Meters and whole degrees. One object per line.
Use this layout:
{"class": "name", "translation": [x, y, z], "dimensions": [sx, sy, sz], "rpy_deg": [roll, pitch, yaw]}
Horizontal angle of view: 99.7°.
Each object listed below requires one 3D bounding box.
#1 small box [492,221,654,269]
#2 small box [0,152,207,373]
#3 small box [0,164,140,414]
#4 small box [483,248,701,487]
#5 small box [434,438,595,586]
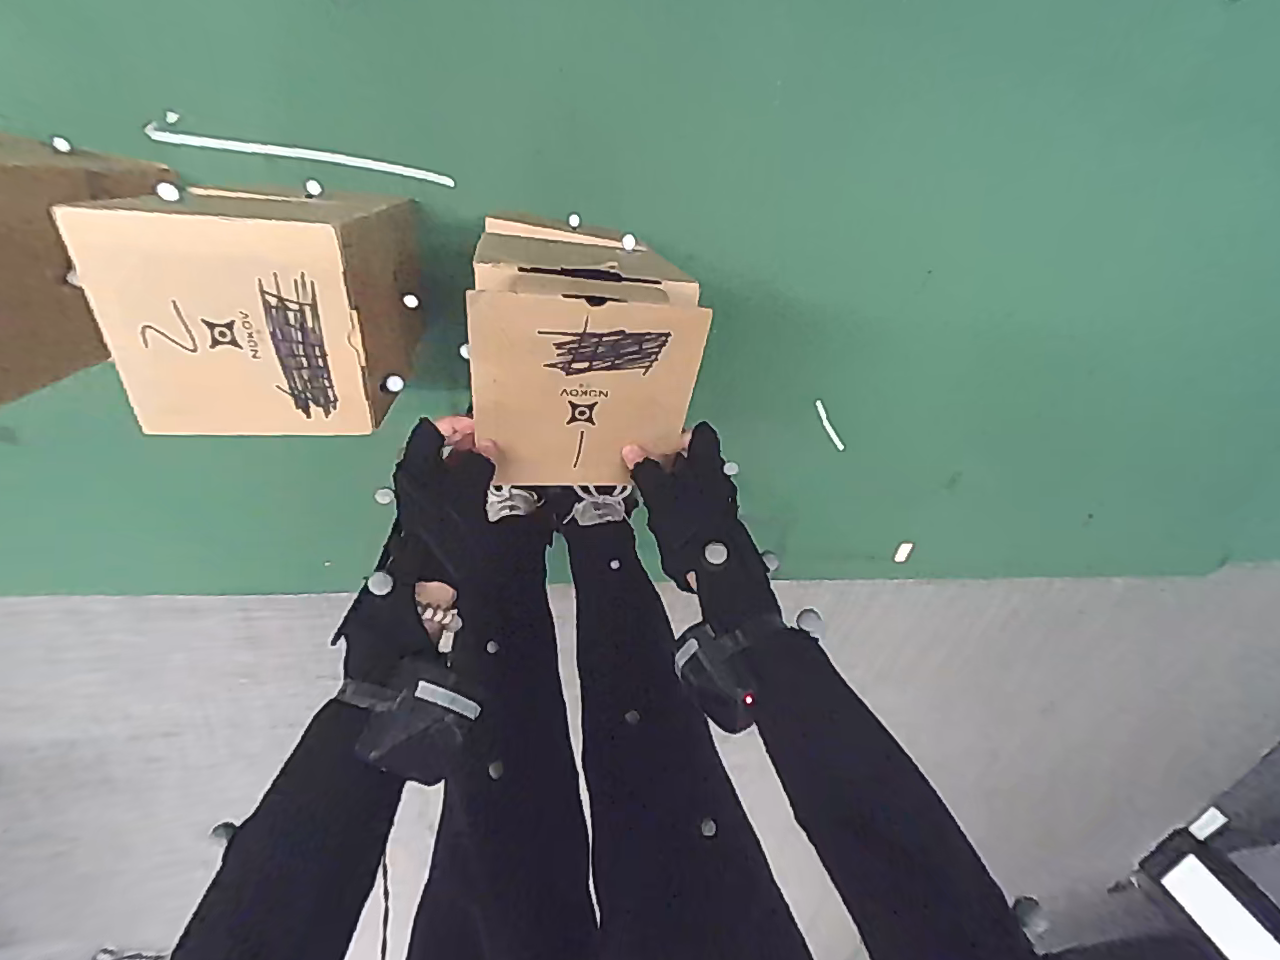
{"class": "small box", "translation": [-0.097, -0.220, 0.679], "dimensions": [0.179, 0.176, 0.168], "rpy_deg": [5, 117, -14]}
{"class": "small box", "translation": [-0.602, -0.233, 0.574], "dimensions": [0.168, 0.176, 0.179], "rpy_deg": [6, 117, -14]}
{"class": "small box", "translation": [-0.565, -0.163, 0.429], "dimensions": [0.179, 0.176, 0.168], "rpy_deg": [5, 117, -13]}
{"class": "small box", "translation": [-0.058, -0.109, 0.501], "dimensions": [0.168, 0.176, 0.179], "rpy_deg": [1, 119, -13]}
{"class": "small box", "translation": [-0.182, 0.022, 0.816], "dimensions": [0.179, 0.176, 0.168], "rpy_deg": [38, 118, -9]}
